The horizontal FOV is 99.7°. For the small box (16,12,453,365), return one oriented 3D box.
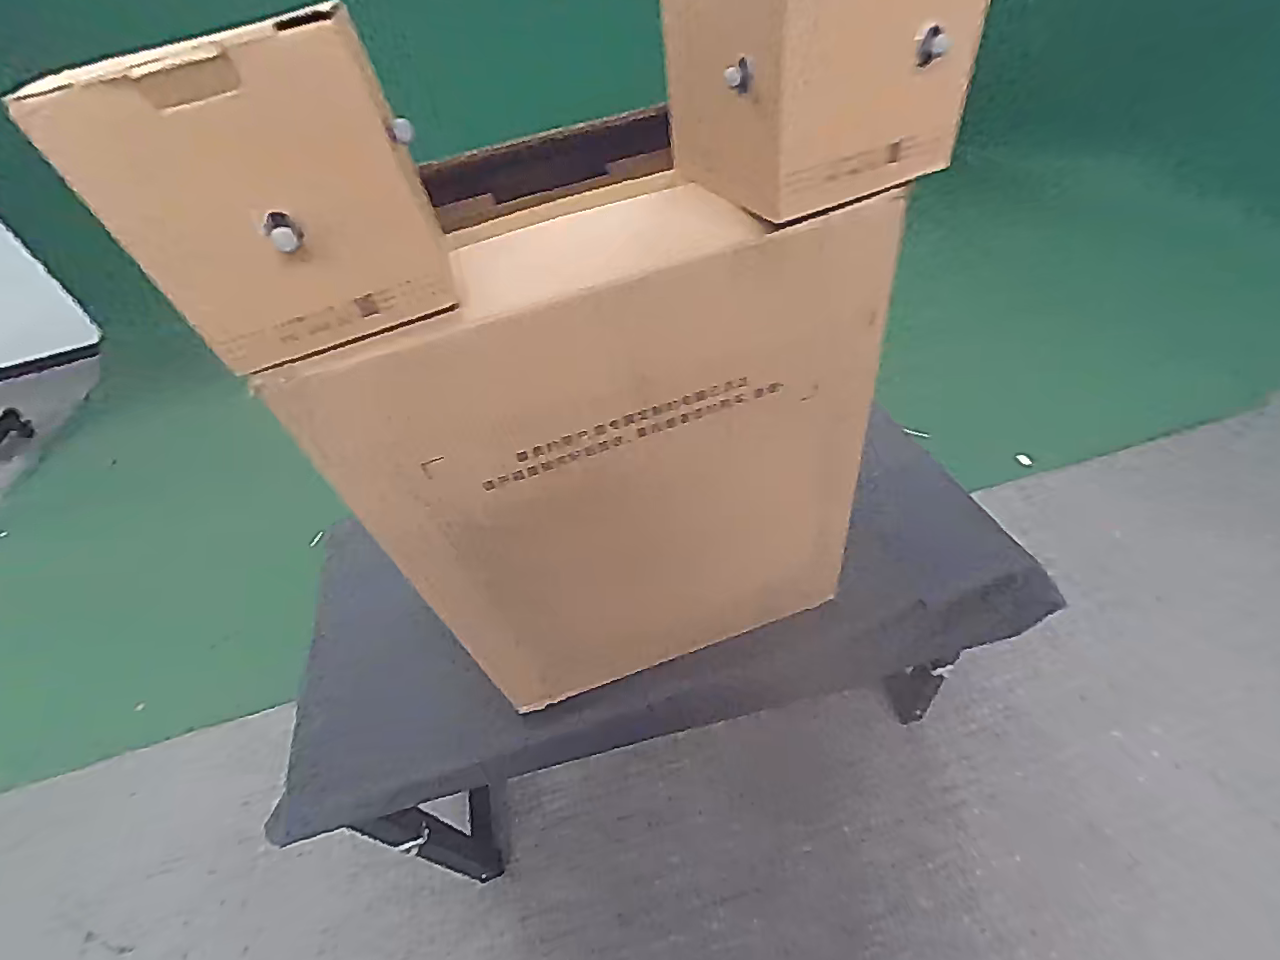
[{"bbox_3d":[-0.252,-0.204,0.392,0.168,0.176,0.179,-22,47,-7],"label":"small box"}]

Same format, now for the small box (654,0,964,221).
[{"bbox_3d":[0.126,-0.324,0.426,0.168,0.176,0.179,-22,45,-12],"label":"small box"}]
